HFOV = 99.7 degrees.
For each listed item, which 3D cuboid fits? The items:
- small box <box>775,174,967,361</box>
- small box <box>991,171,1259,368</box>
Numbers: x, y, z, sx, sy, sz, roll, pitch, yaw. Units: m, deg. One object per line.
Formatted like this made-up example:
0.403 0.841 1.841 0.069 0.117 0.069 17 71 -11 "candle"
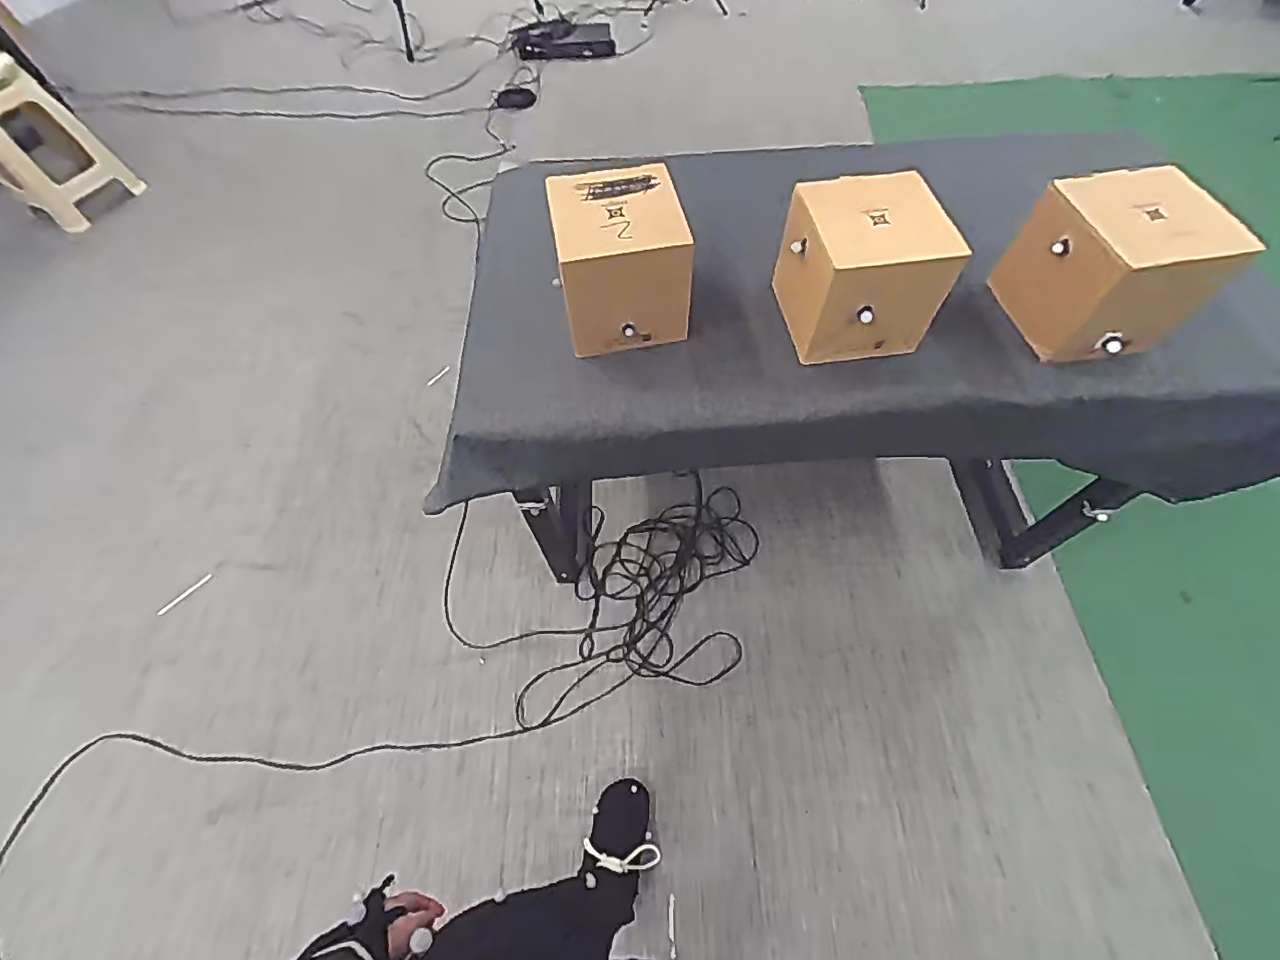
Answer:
0.296 -0.279 0.738 0.168 0.176 0.179 -7 59 -2 "small box"
0.622 -0.278 0.728 0.168 0.176 0.179 -9 60 -2 "small box"
